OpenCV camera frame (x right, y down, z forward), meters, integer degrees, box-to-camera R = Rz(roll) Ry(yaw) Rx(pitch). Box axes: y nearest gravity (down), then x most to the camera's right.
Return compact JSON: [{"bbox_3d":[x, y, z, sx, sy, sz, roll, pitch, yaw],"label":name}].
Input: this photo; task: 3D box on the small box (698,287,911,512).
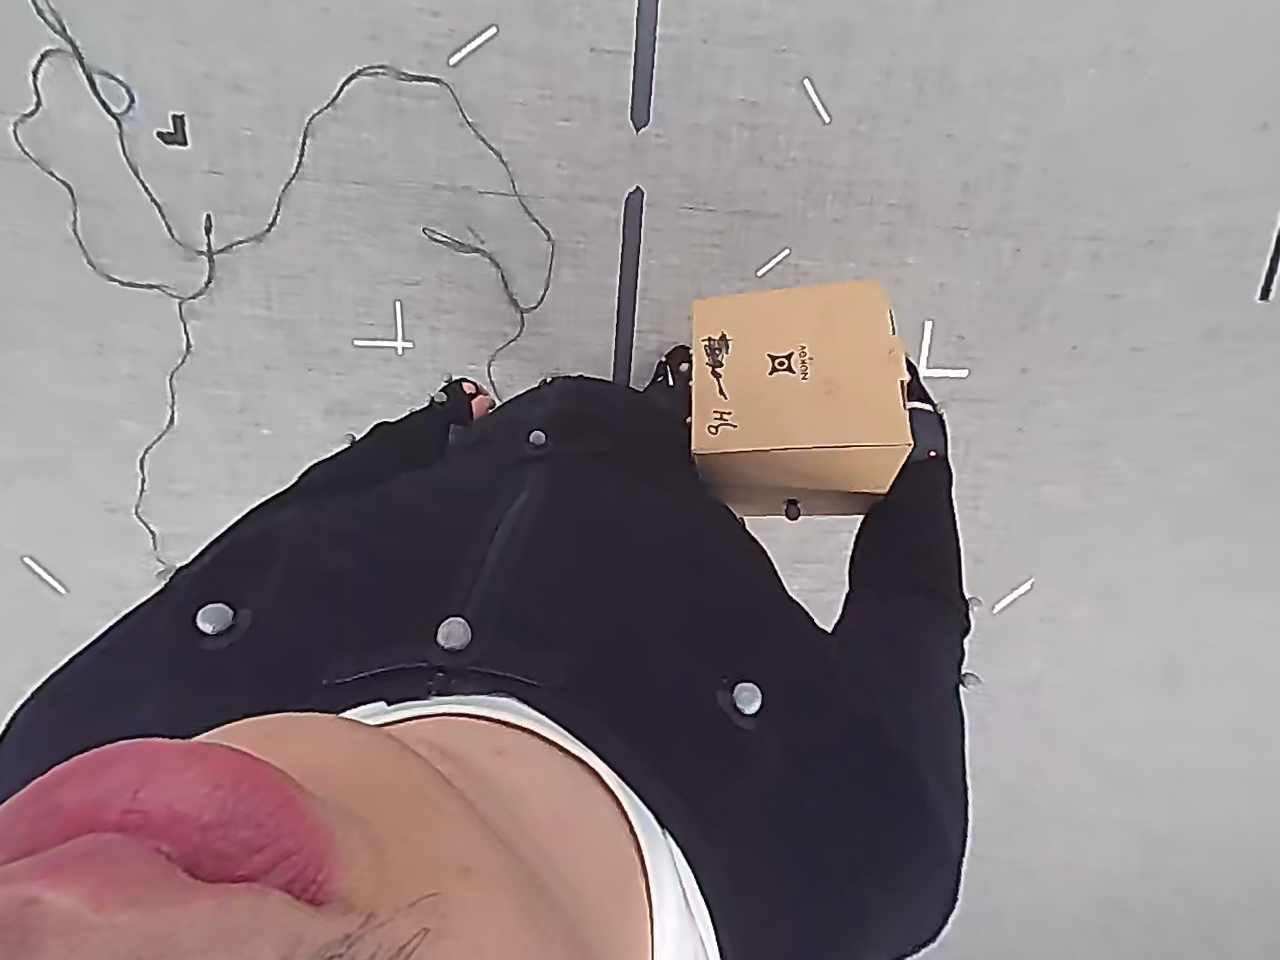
[{"bbox_3d":[0.155,-0.071,0.556,0.179,0.176,0.168,-1,66,11],"label":"small box"}]
